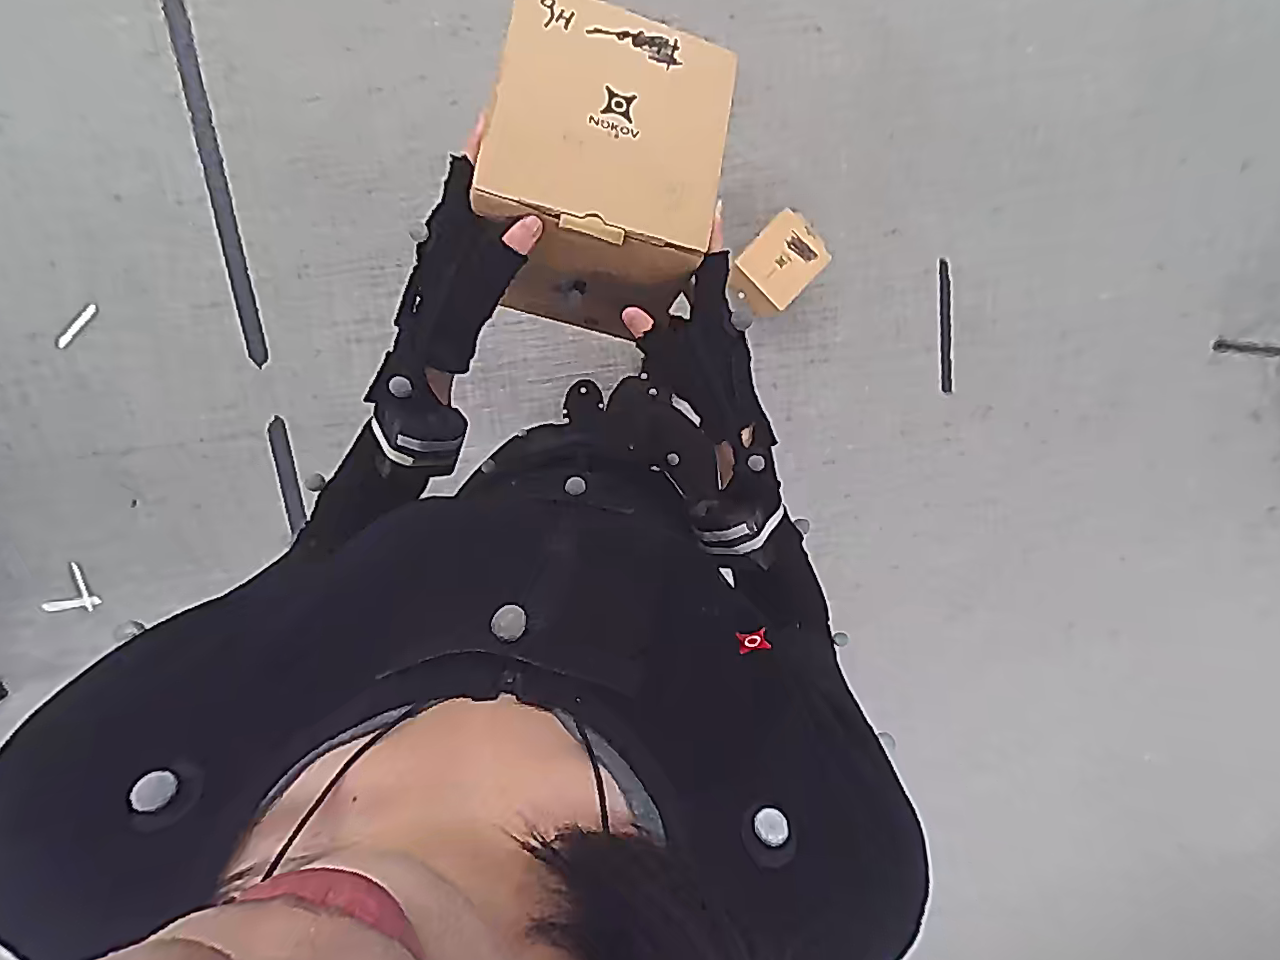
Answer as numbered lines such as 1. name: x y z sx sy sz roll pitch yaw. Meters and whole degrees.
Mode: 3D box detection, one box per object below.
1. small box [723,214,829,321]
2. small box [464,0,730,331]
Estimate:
1. small box: 0.333 -0.526 1.365 0.168 0.176 0.179 44 96 -10
2. small box: -0.041 -0.249 0.457 0.168 0.176 0.179 11 80 -12
